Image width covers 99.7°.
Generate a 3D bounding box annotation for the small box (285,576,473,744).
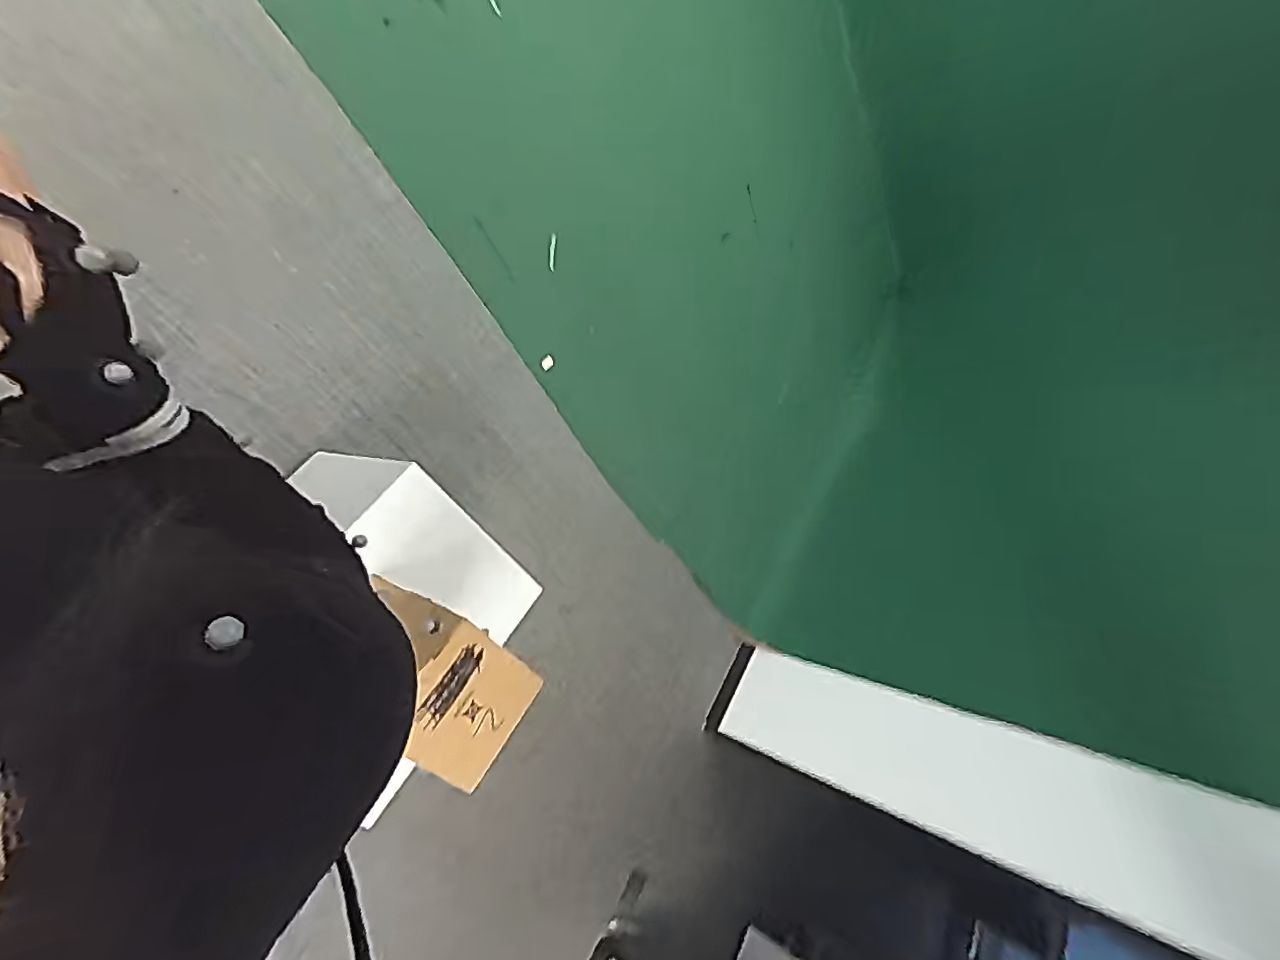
[{"bbox_3d":[-0.410,0.273,0.854,0.168,0.176,0.179,-53,130,-29],"label":"small box"}]
